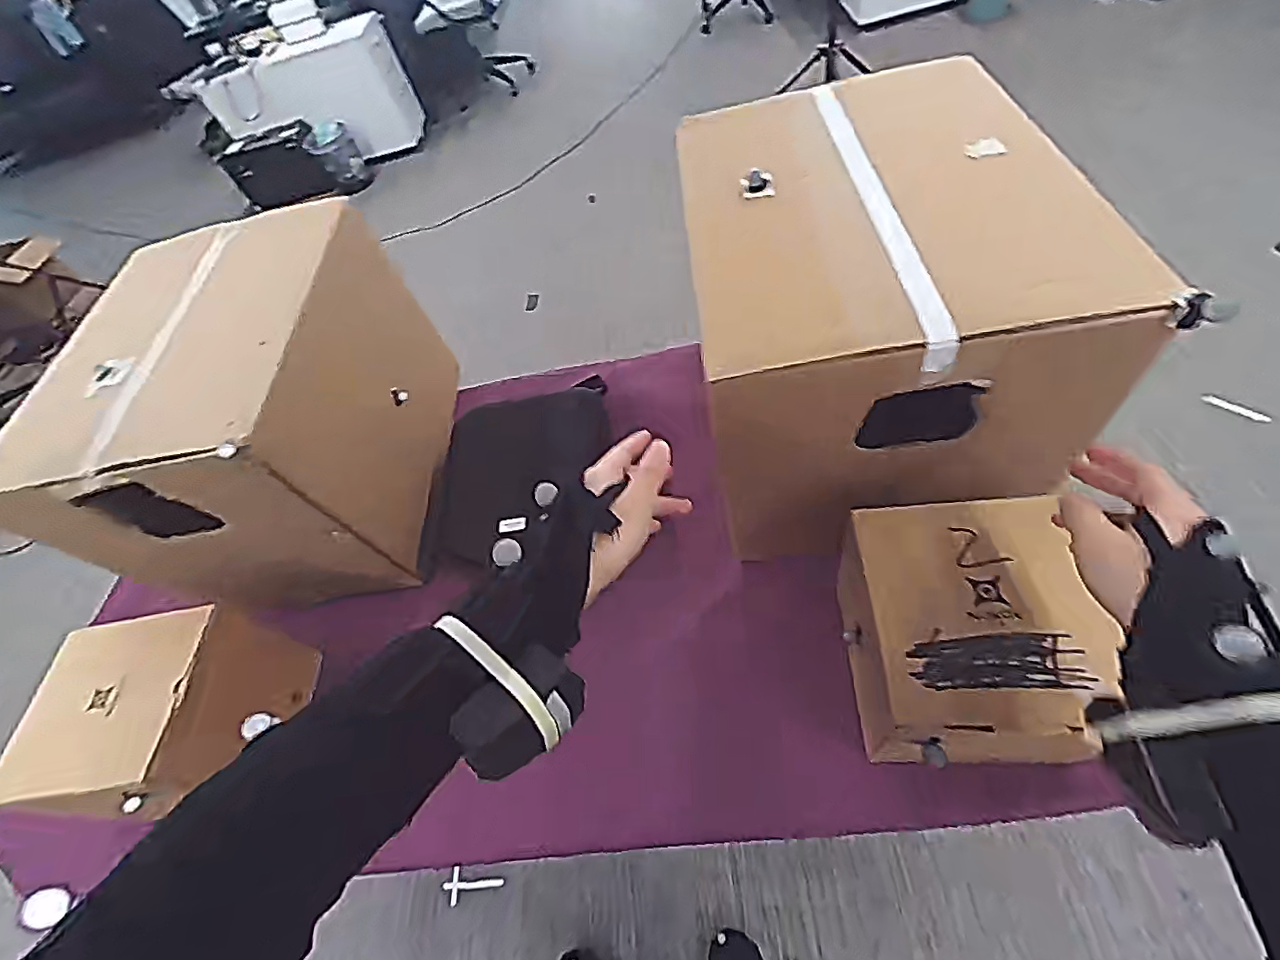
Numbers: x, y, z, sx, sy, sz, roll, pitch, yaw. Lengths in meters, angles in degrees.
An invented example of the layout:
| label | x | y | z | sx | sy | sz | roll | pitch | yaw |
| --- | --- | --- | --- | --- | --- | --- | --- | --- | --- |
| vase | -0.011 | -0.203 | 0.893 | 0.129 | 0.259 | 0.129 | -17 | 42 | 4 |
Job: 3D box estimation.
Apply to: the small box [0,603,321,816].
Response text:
| label | x | y | z | sx | sy | sz | roll | pitch | yaw |
| --- | --- | --- | --- | --- | --- | --- | --- | --- | --- |
| small box | -0.496 | 0.255 | 0.586 | 0.179 | 0.176 | 0.168 | -11 | 53 | 6 |

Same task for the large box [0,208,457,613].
| label | x | y | z | sx | sy | sz | roll | pitch | yaw |
| --- | --- | --- | --- | --- | --- | --- | --- | --- | --- |
| large box | -0.467 | -0.080 | 0.722 | 0.320 | 0.320 | 0.408 | -11 | 57 | 7 |
